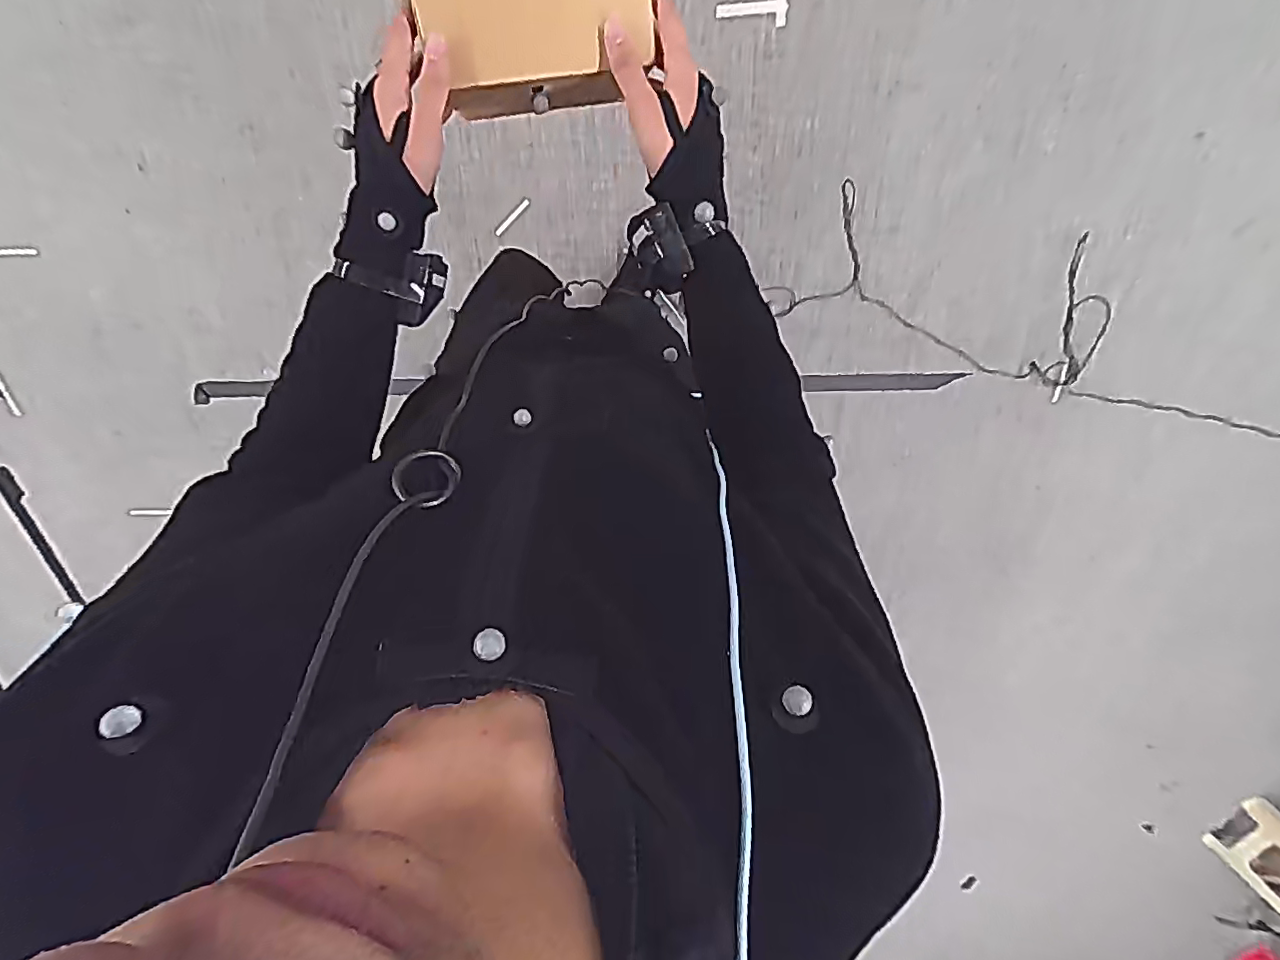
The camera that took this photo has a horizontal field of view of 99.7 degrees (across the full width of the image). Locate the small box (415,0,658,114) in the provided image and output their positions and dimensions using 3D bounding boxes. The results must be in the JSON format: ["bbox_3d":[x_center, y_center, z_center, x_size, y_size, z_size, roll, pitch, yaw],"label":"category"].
[{"bbox_3d":[-0.090,-0.419,0.449,0.179,0.176,0.168,-9,119,-3],"label":"small box"}]
